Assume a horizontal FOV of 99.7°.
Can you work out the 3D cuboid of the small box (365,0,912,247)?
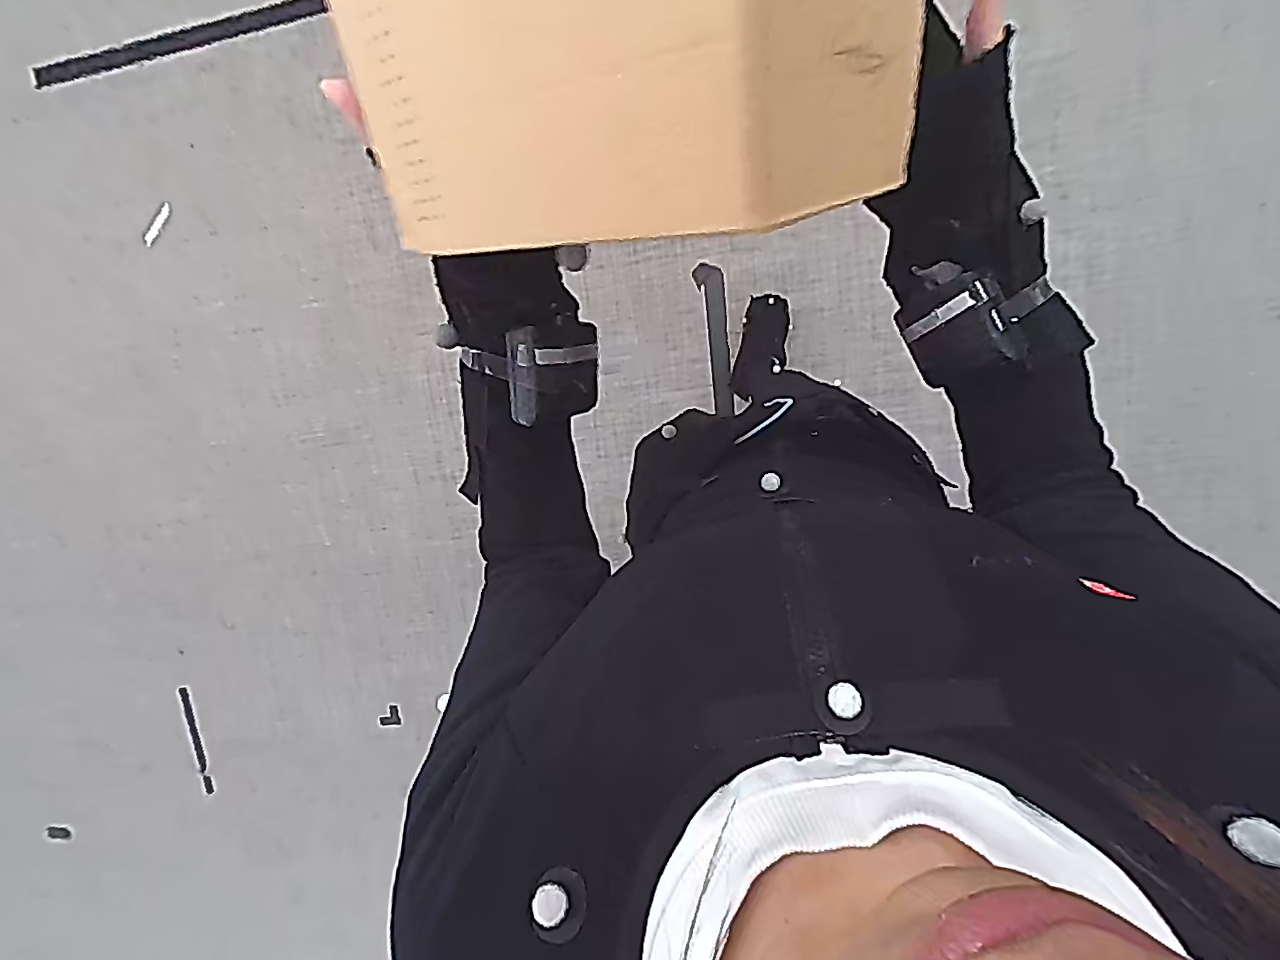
[{"bbox_3d":[0.004,-0.201,0.216,0.176,0.168,0.179,11,123,32],"label":"small box"}]
